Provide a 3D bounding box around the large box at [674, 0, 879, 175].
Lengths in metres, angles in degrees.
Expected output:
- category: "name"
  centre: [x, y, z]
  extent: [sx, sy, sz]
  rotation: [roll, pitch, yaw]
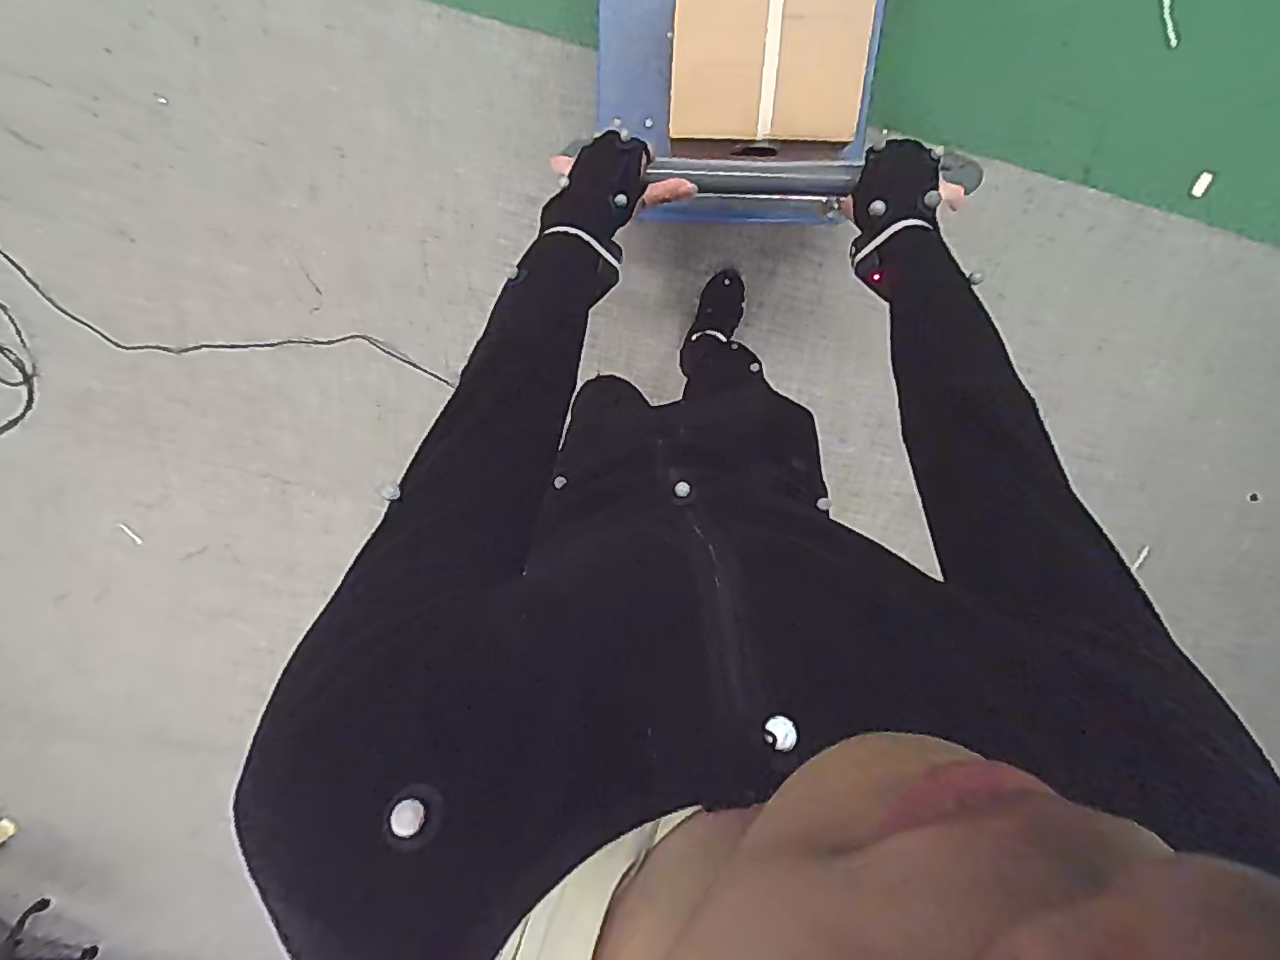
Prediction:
- category: "large box"
  centre: [0.228, -0.804, 0.976]
  extent: [0.320, 0.320, 0.408]
  rotation: [3, 109, 3]
